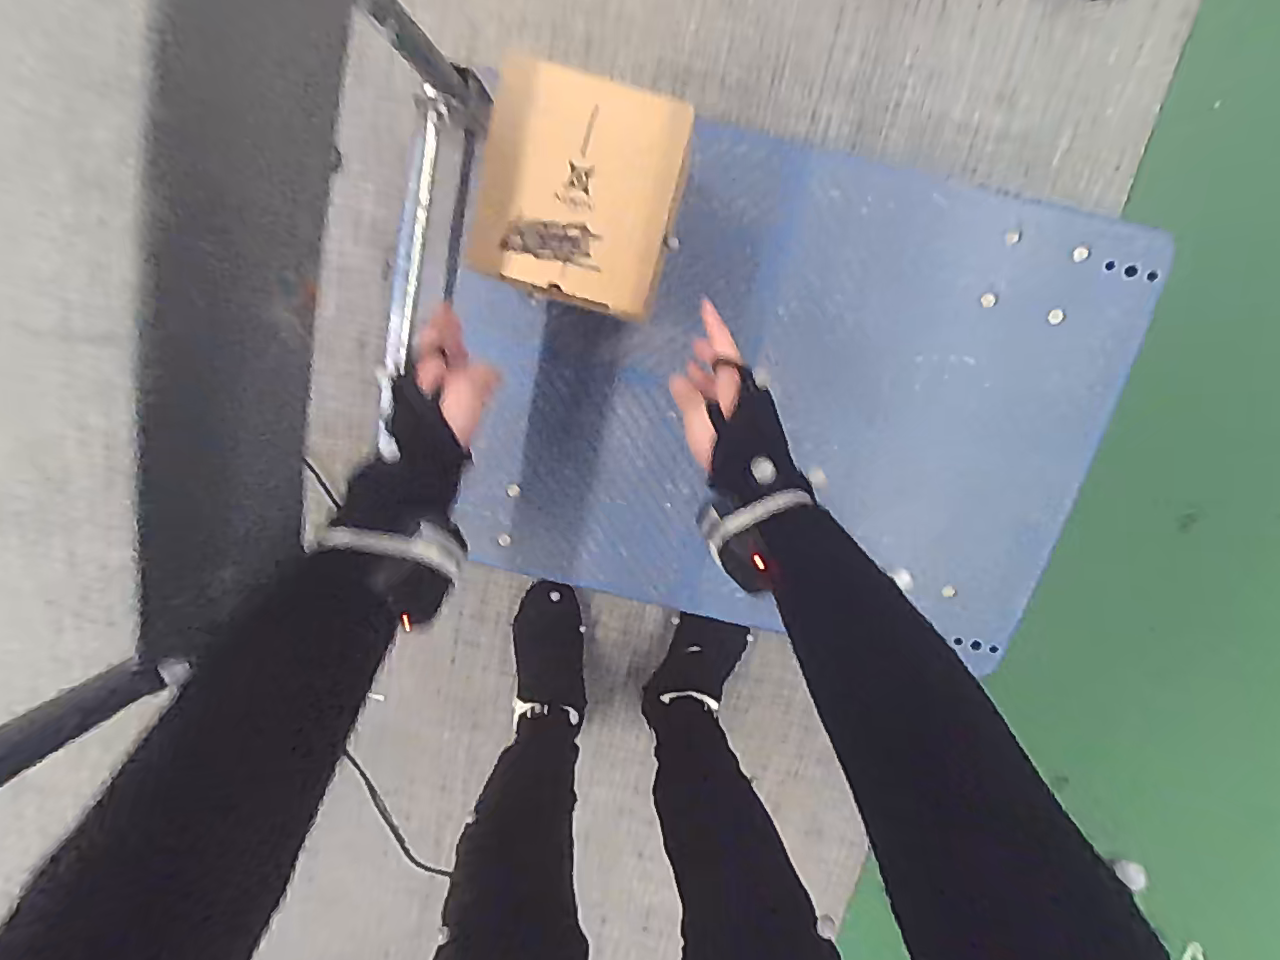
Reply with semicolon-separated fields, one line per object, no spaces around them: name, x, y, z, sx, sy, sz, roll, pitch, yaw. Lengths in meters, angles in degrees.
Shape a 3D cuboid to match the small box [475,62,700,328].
small box;-0.045;-0.260;0.544;0.168;0.176;0.179;16;102;-1
